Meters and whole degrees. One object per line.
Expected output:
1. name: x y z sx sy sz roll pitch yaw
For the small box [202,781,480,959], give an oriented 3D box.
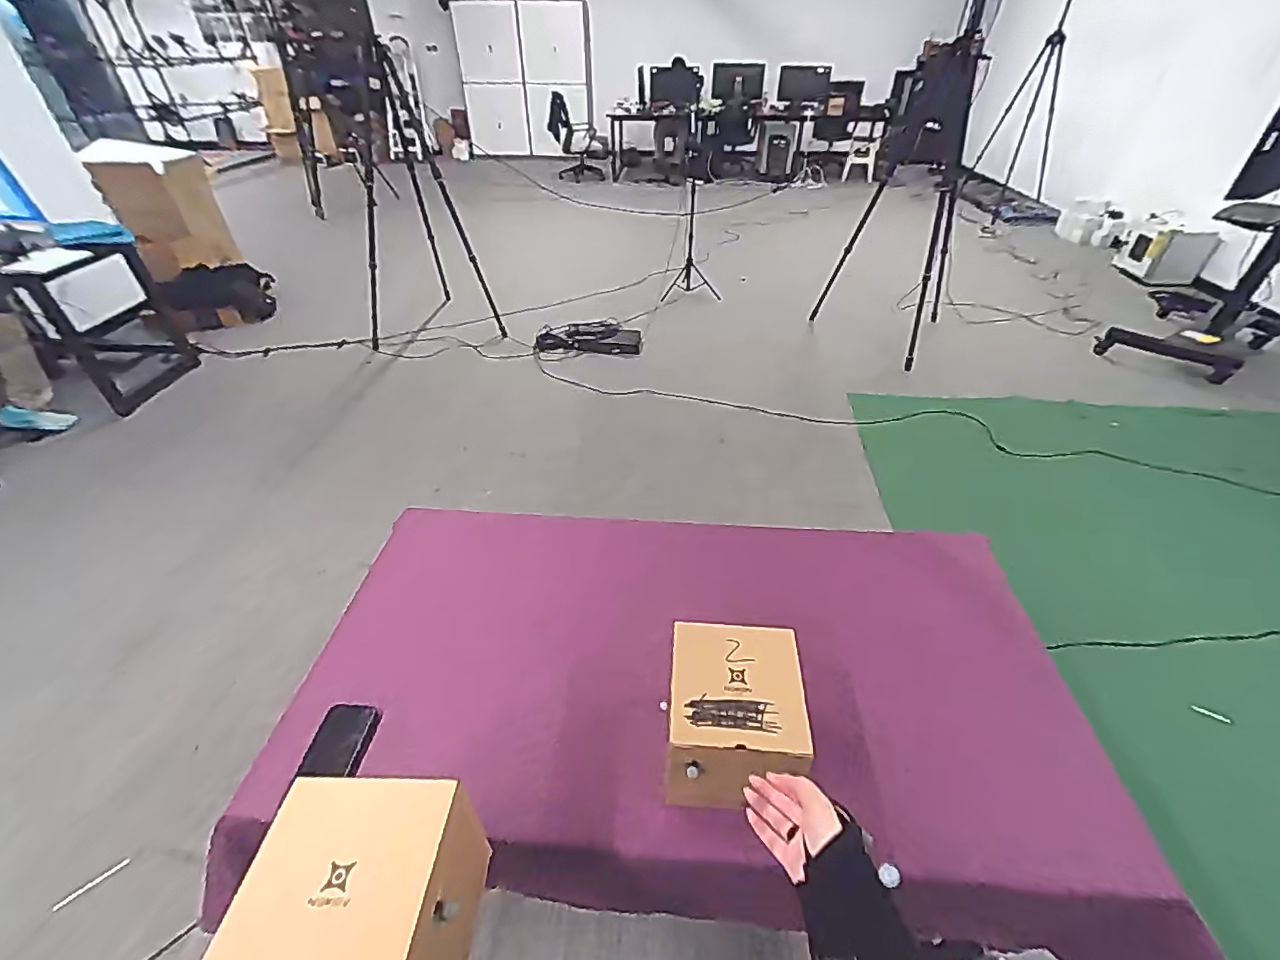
1. small box: -0.264 0.418 0.517 0.168 0.176 0.179 0 37 2
